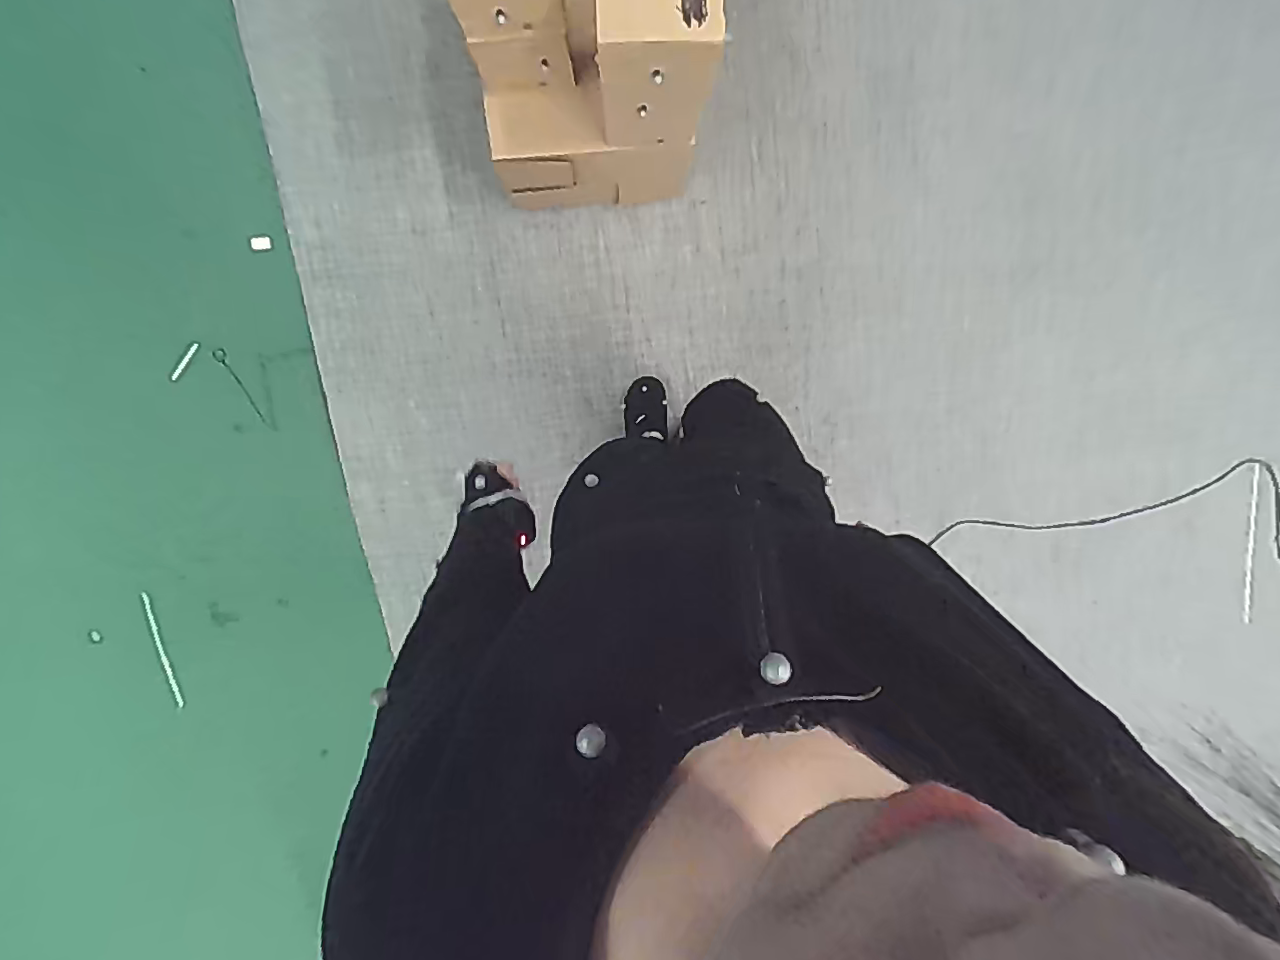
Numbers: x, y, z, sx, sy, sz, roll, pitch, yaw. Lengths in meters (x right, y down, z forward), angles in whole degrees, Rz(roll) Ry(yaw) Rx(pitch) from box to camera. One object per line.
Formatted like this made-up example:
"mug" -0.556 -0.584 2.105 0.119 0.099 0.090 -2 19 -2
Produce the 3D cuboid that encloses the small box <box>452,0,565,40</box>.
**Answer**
"small box" -0.205 -0.786 0.779 0.168 0.176 0.179 -4 101 0

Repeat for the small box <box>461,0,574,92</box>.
"small box" -0.211 -0.809 0.941 0.168 0.176 0.179 -4 98 0

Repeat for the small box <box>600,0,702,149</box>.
"small box" 0.016 -0.719 0.956 0.168 0.176 0.179 -3 98 0
